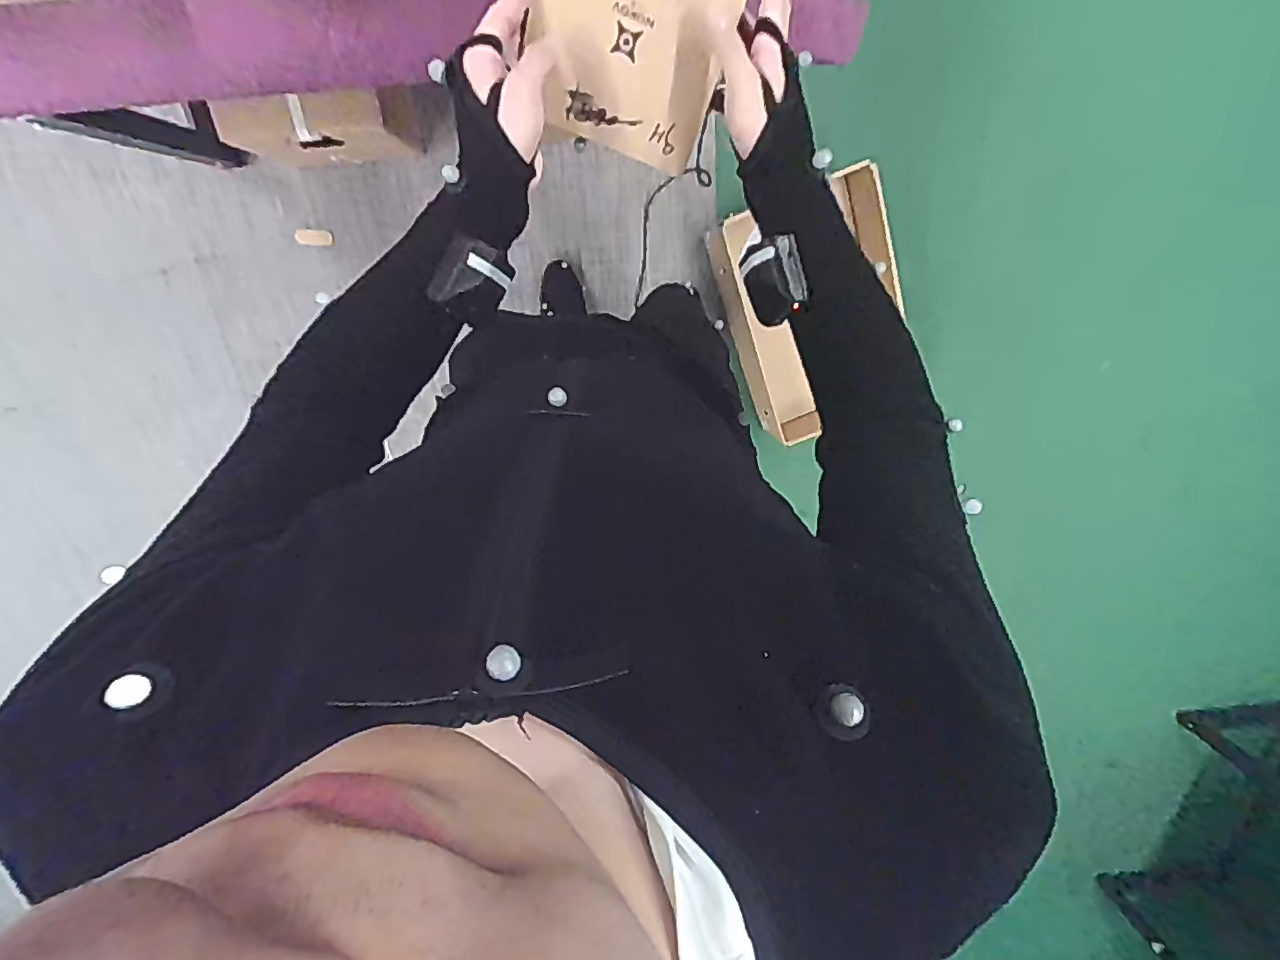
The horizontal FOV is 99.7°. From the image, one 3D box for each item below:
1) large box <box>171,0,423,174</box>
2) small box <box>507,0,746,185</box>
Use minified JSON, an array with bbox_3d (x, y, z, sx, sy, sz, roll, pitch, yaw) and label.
[{"bbox_3d":[-0.680,-0.886,1.101,0.320,0.320,0.408,-7,111,-4],"label":"large box"},{"bbox_3d":[-0.012,-0.411,0.507,0.168,0.176,0.179,17,125,-12],"label":"small box"}]
